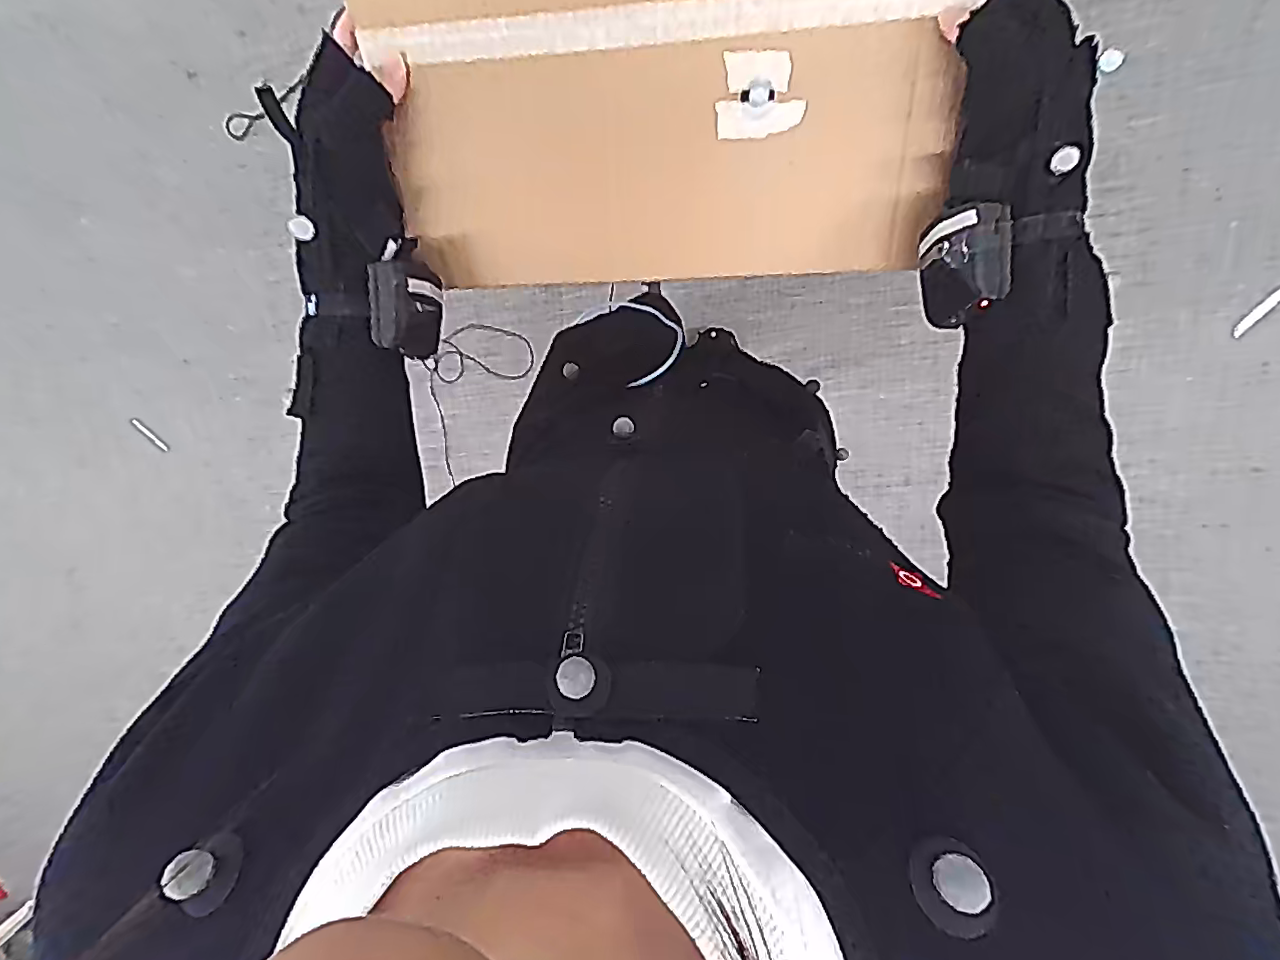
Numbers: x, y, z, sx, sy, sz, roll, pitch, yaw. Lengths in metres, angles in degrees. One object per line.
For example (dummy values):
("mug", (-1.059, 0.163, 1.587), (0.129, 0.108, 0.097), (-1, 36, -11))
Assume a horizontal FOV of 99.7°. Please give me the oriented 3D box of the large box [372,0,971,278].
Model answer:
("large box", (0.024, -0.372, 0.495), (0.408, 0.320, 0.320), (-1, 115, 5))
